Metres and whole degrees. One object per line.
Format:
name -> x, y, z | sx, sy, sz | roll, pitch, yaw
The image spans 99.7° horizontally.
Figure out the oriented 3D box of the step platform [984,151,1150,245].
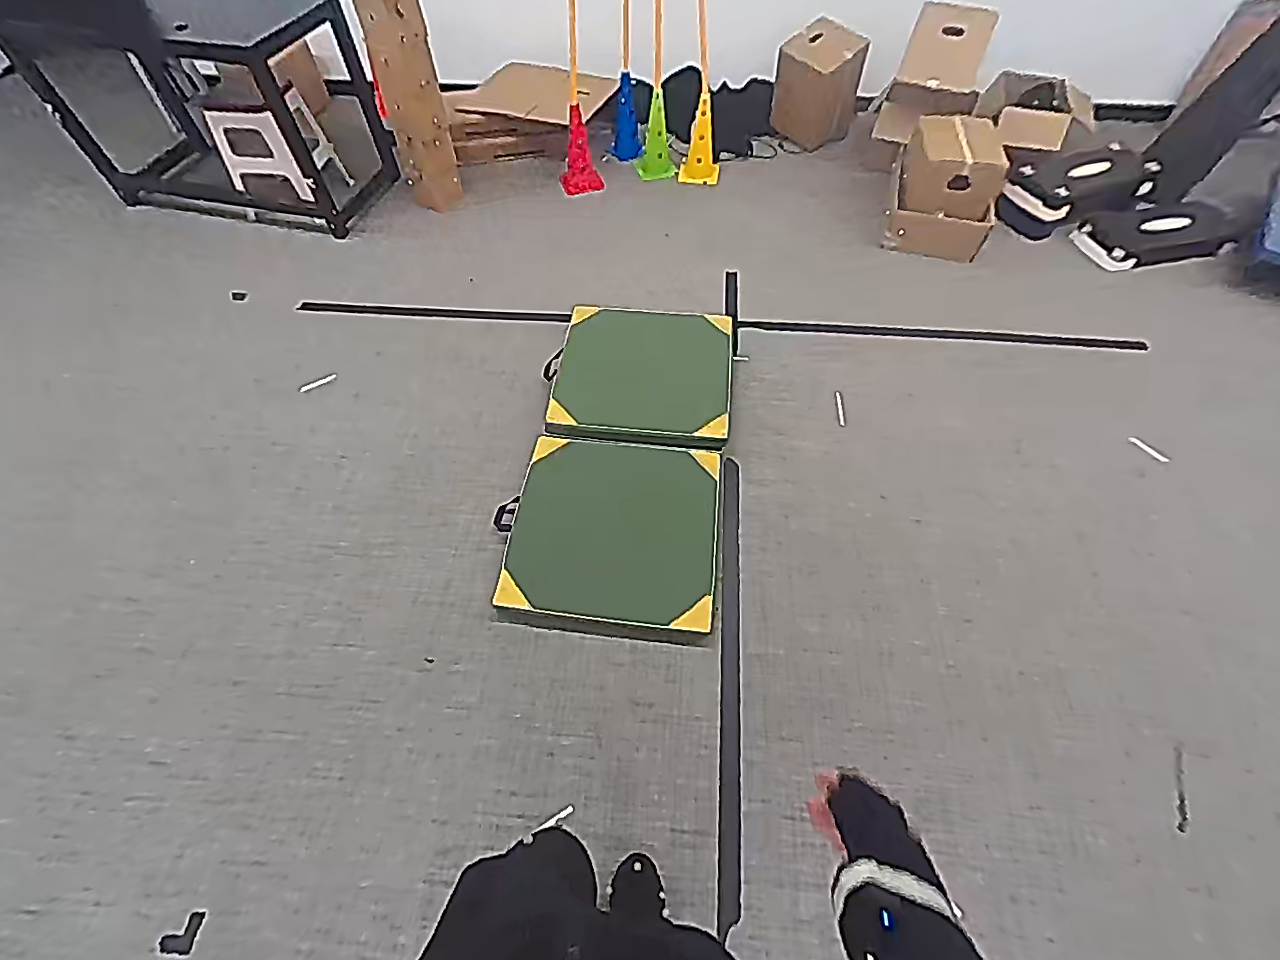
step platform -> 2.004, -1.330, 2.538 | 0.684, 0.204, 0.286 | -20, 59, -13
